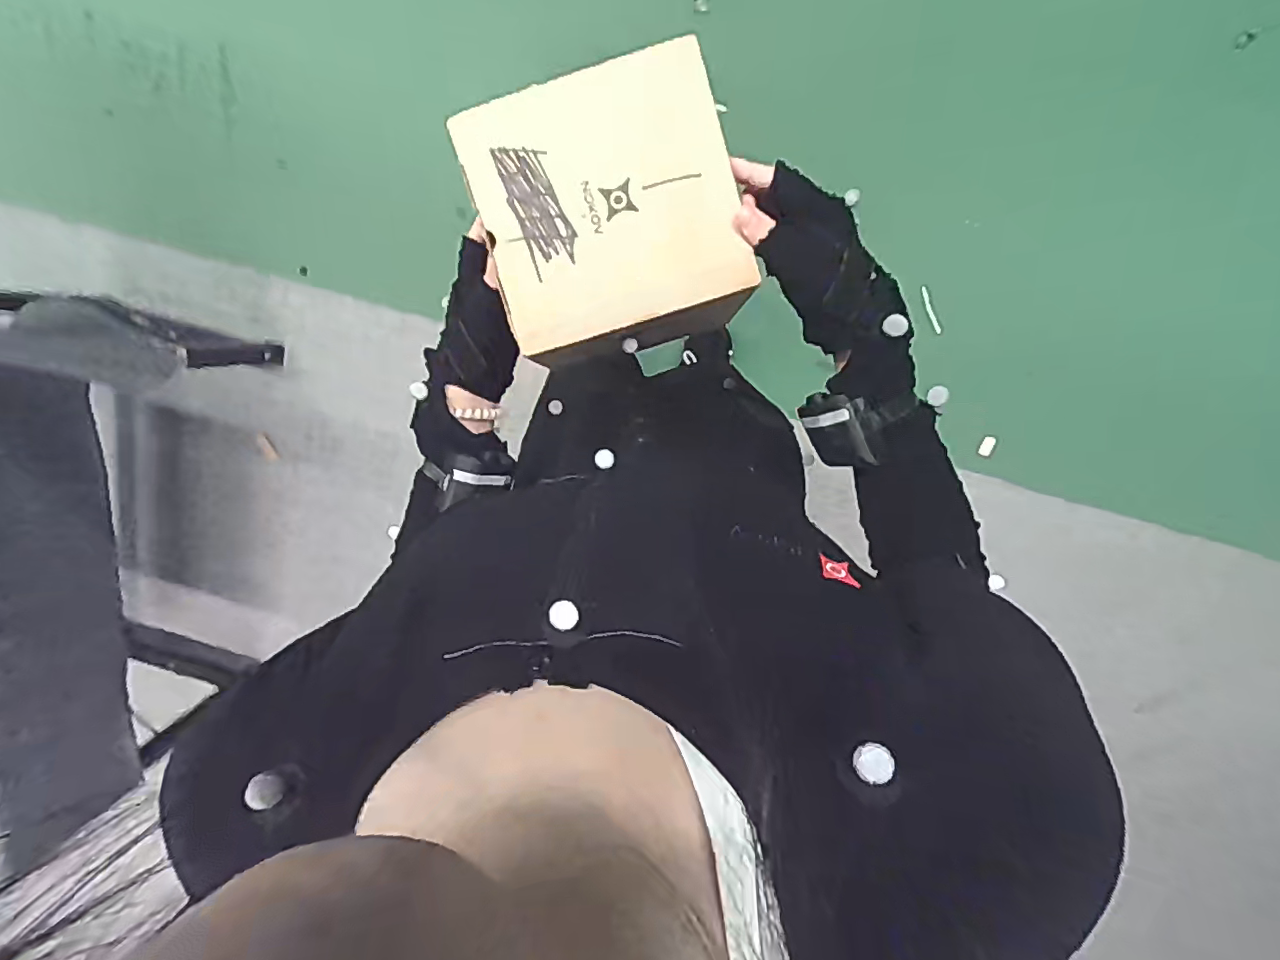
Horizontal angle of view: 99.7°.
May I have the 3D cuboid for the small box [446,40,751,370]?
[{"bbox_3d":[-0.025,-0.197,0.447,0.179,0.176,0.168,-17,97,3],"label":"small box"}]
